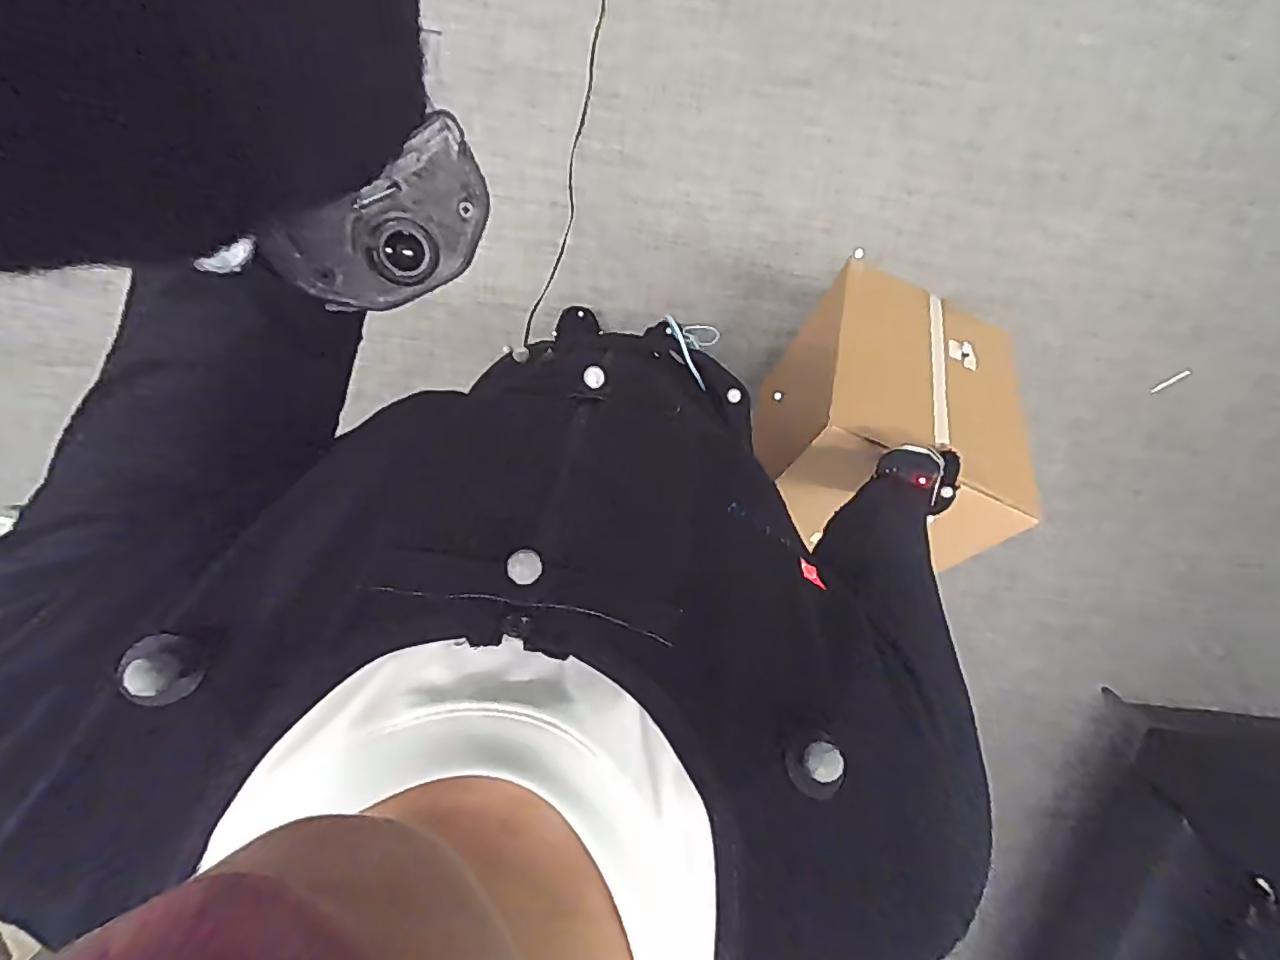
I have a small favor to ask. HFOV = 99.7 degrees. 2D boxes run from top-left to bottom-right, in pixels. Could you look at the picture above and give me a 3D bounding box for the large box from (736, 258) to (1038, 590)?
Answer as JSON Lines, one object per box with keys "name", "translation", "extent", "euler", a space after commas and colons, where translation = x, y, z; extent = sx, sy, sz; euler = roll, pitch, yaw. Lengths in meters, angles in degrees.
{"name": "large box", "translation": [0.392, -0.087, 0.924], "extent": [0.320, 0.408, 0.320], "euler": [24, 144, -5]}
